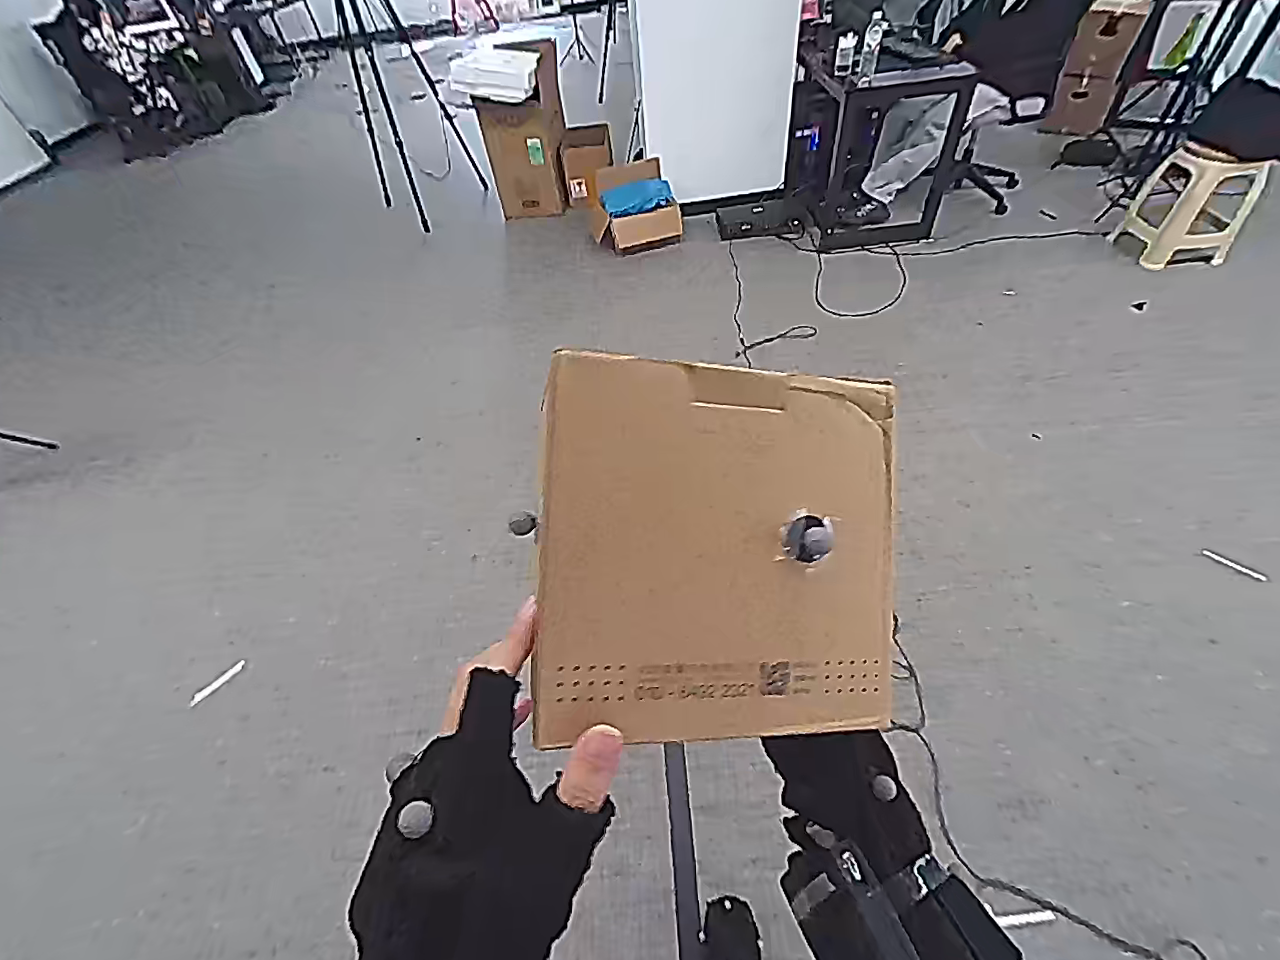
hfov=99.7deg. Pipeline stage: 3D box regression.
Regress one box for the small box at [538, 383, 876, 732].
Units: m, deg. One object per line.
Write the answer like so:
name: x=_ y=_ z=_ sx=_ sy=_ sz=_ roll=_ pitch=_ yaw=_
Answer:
small box: x=0.025 y=0.043 z=0.338 sx=0.168 sy=0.179 sz=0.176 roll=3 pitch=88 yaw=-10
